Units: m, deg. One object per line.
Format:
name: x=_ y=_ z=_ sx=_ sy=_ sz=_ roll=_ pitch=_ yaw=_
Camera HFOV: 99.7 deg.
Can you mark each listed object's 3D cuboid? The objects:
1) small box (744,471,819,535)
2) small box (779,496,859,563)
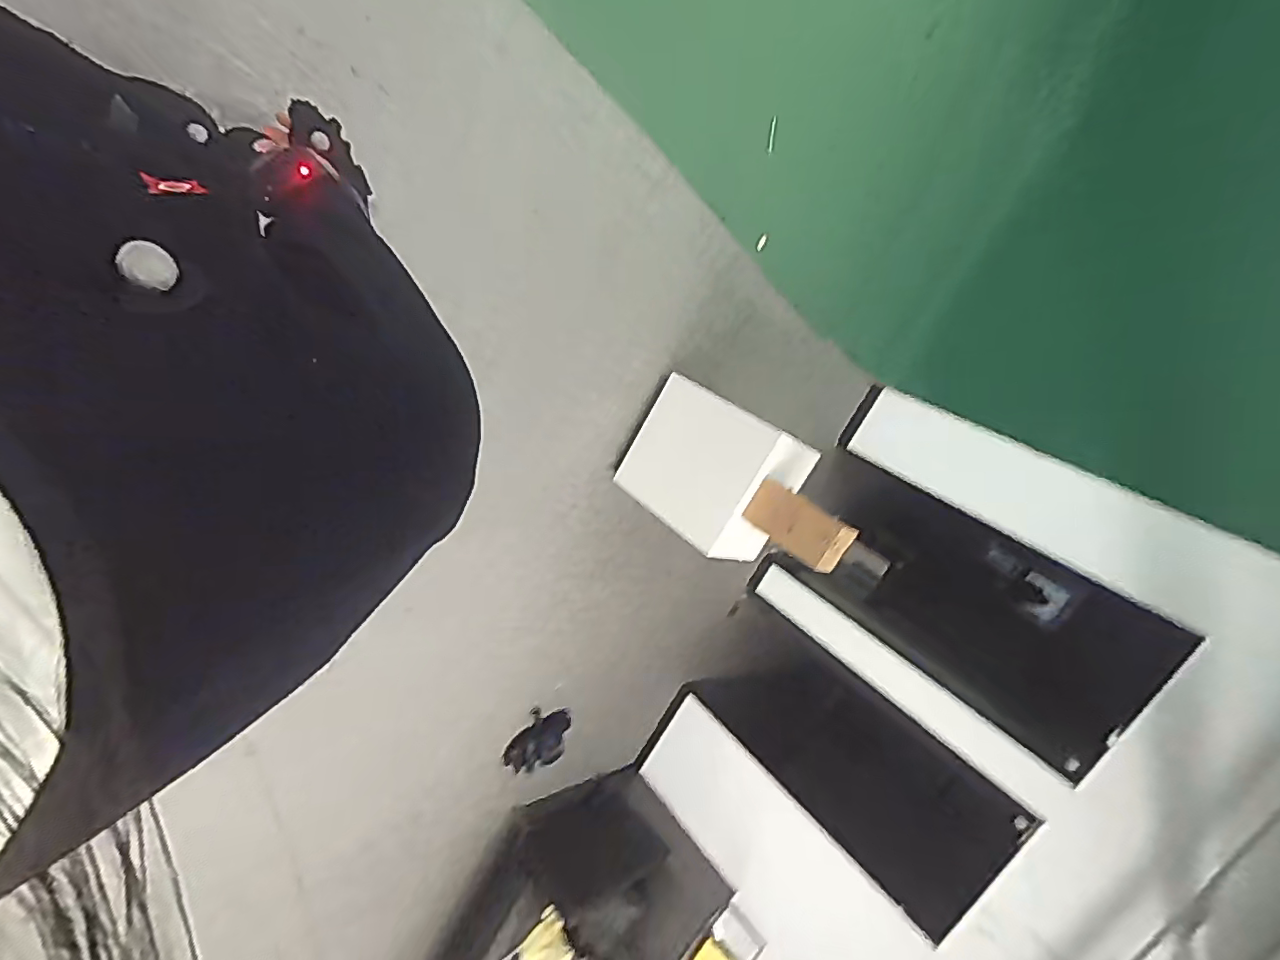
small box: x=0.506 y=0.086 z=1.947 sx=0.168 sy=0.176 sz=0.179 roll=14 pitch=110 yaw=-51
small box: x=0.611 y=0.169 z=1.856 sx=0.179 sy=0.176 sz=0.168 roll=12 pitch=112 yaw=-50
